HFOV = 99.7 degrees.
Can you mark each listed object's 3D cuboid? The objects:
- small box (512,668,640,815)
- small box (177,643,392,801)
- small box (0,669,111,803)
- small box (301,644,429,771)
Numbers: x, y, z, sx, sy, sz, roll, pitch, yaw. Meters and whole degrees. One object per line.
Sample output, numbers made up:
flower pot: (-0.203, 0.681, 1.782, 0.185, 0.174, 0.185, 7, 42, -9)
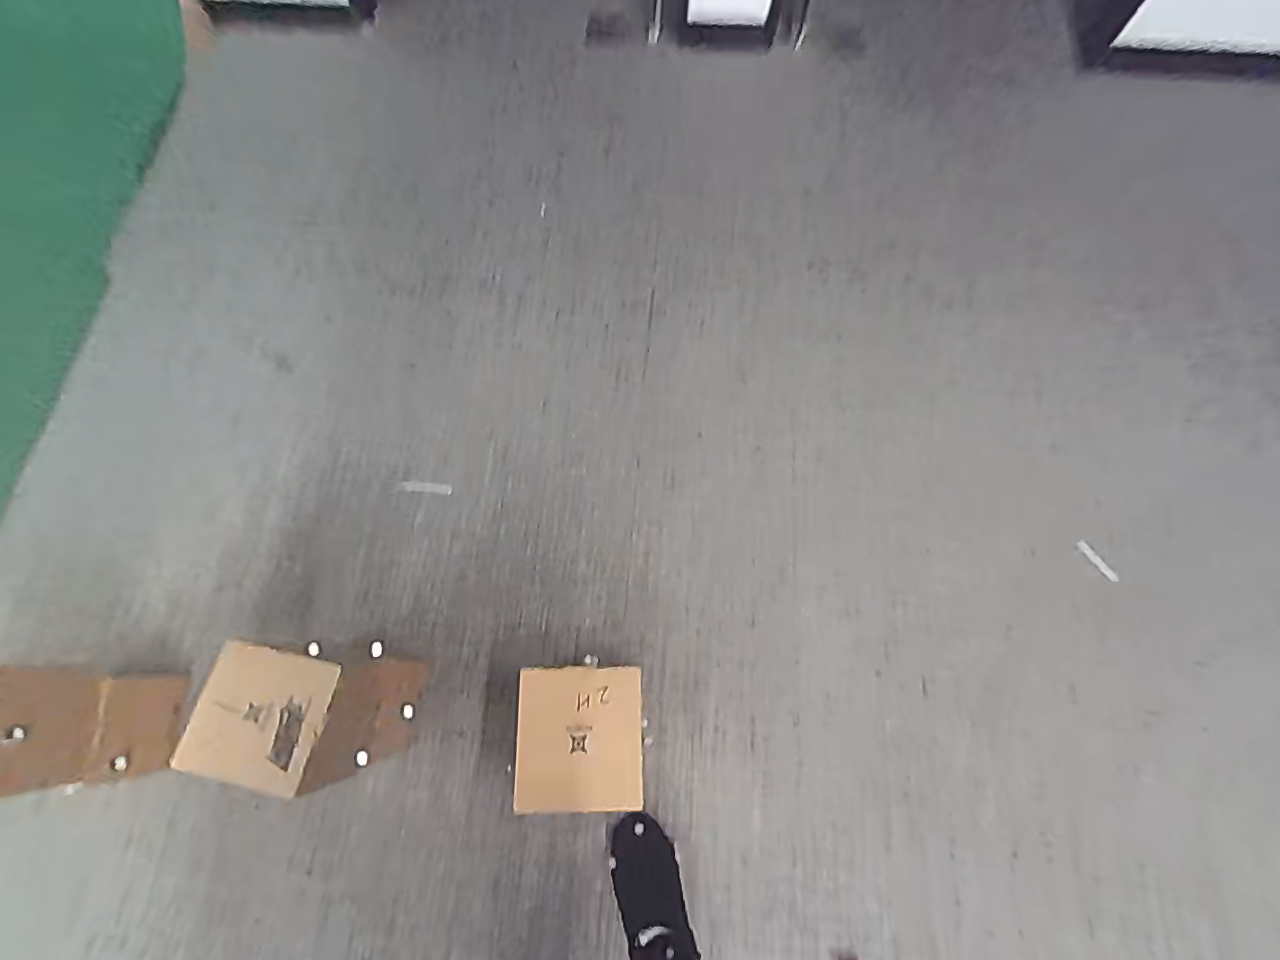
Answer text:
small box: (-0.083, 0.370, 0.791, 0.168, 0.176, 0.179, 0, 70, -1)
small box: (-0.502, 0.345, 0.797, 0.179, 0.176, 0.168, 11, 70, 5)
small box: (-0.939, 0.374, 0.788, 0.168, 0.176, 0.179, -5, 69, -3)
small box: (-0.501, 0.393, 0.955, 0.179, 0.176, 0.168, 11, 70, 3)
